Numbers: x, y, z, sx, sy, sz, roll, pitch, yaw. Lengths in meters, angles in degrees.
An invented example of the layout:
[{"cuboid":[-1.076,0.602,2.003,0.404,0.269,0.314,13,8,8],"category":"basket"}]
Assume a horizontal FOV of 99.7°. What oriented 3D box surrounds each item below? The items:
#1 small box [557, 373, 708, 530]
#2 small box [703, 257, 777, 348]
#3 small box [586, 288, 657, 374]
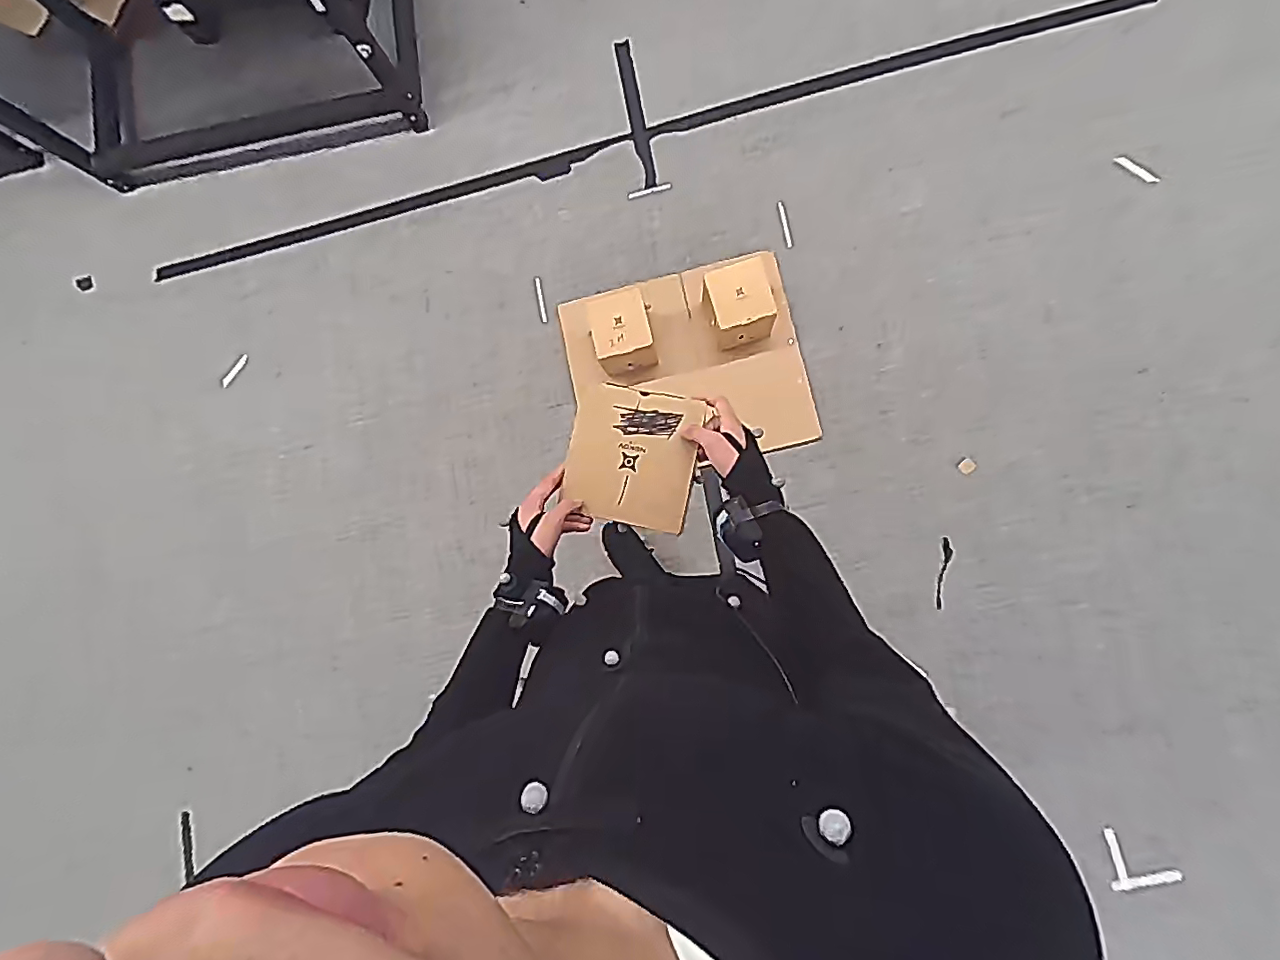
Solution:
[{"cuboid":[-0.004,-0.034,0.769,0.168,0.176,0.179,12,88,7],"category":"small box"},{"cuboid":[0.284,-0.511,1.576,0.168,0.176,0.179,-17,84,4],"category":"small box"},{"cuboid":[-0.050,-0.435,1.600,0.168,0.176,0.179,-14,84,6],"category":"small box"}]
